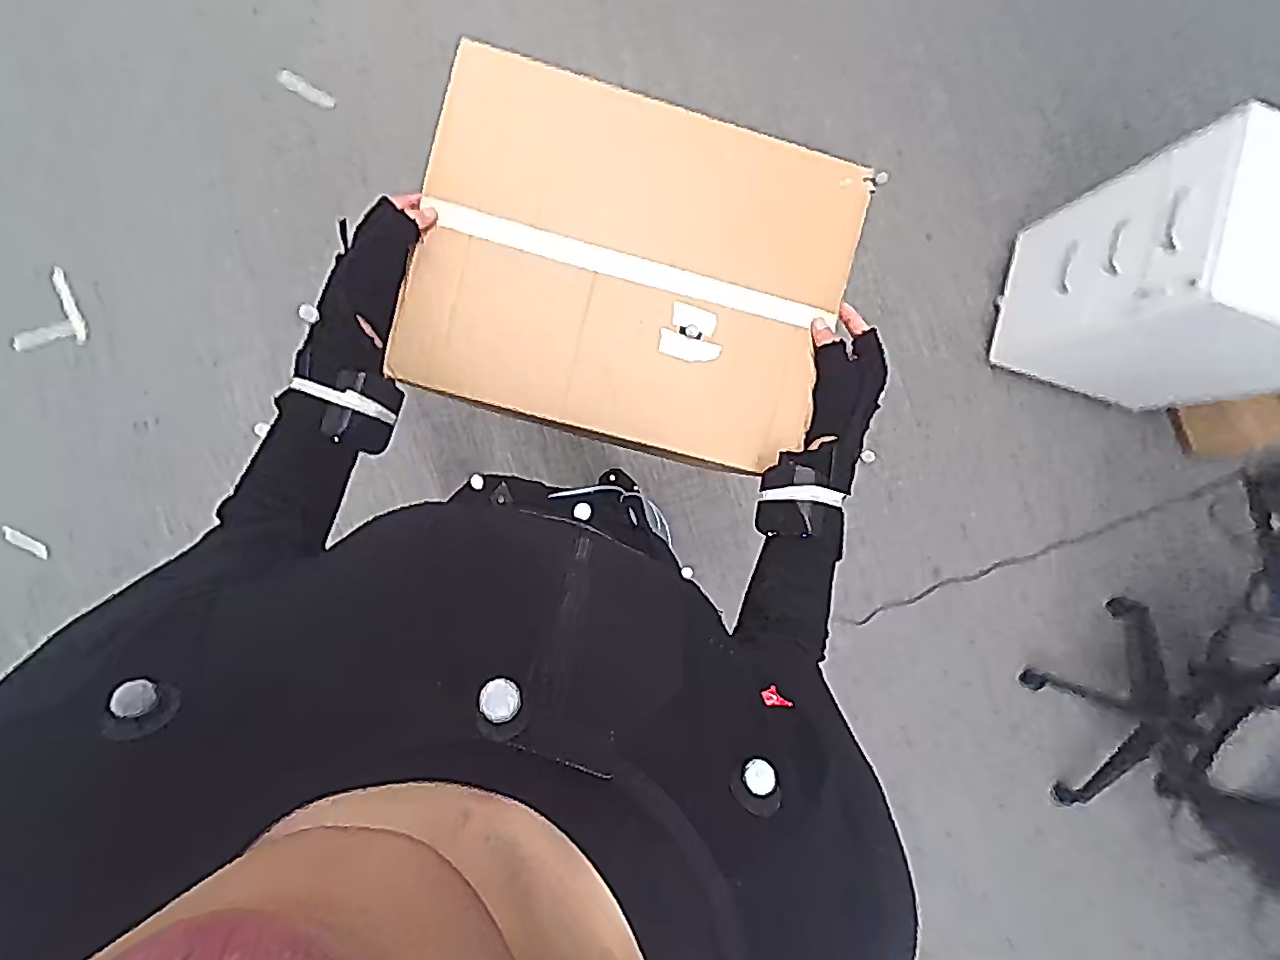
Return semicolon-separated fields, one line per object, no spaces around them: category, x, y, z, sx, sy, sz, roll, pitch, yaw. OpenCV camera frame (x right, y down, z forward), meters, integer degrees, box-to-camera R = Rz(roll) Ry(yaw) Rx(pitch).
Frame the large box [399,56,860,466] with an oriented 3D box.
large box;-0.020;-0.211;0.670;0.408;0.320;0.320;13;93;-7
